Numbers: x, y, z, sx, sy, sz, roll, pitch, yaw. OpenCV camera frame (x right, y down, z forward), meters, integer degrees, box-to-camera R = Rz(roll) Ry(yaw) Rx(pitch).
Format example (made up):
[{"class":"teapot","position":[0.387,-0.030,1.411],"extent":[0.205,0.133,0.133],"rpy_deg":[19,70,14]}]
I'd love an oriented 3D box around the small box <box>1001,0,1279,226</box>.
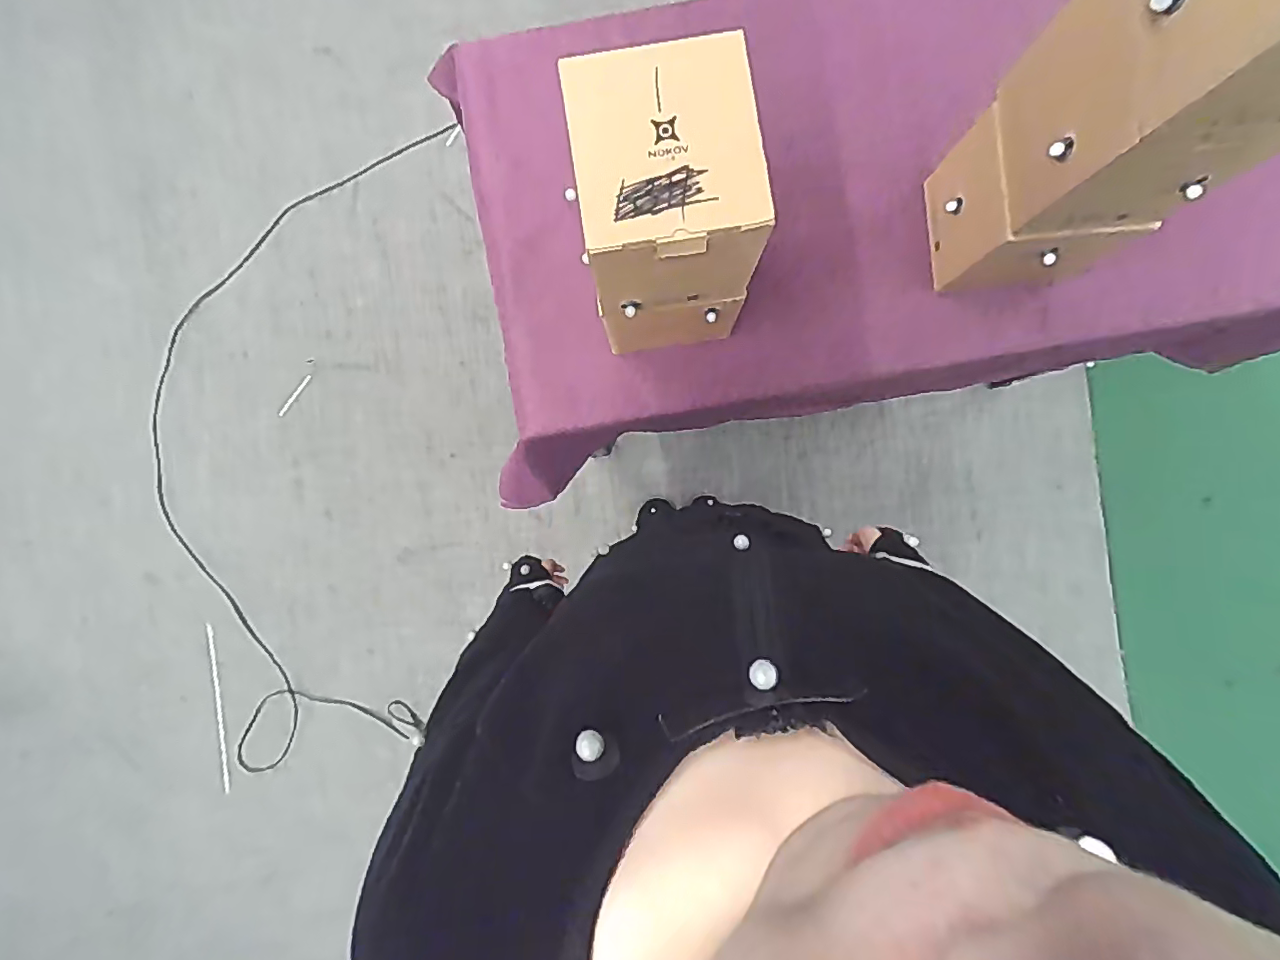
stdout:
[{"class":"small box","position":[0.493,-0.370,0.533],"extent":[0.168,0.176,0.179],"rpy_deg":[-4,87,2]}]

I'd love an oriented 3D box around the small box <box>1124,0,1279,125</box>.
[{"class":"small box","position":[0.483,-0.376,0.369],"extent":[0.168,0.176,0.179],"rpy_deg":[-5,89,1]}]

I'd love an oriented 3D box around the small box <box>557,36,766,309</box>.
[{"class":"small box","position":[0.022,-0.288,0.552],"extent":[0.168,0.176,0.179],"rpy_deg":[-9,86,1]}]

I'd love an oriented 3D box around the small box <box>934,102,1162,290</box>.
[{"class":"small box","position":[0.501,-0.357,0.695],"extent":[0.179,0.176,0.168],"rpy_deg":[-4,89,2]}]

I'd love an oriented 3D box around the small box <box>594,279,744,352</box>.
[{"class":"small box","position":[0.030,-0.279,0.716],"extent":[0.179,0.176,0.168],"rpy_deg":[-8,88,2]}]
